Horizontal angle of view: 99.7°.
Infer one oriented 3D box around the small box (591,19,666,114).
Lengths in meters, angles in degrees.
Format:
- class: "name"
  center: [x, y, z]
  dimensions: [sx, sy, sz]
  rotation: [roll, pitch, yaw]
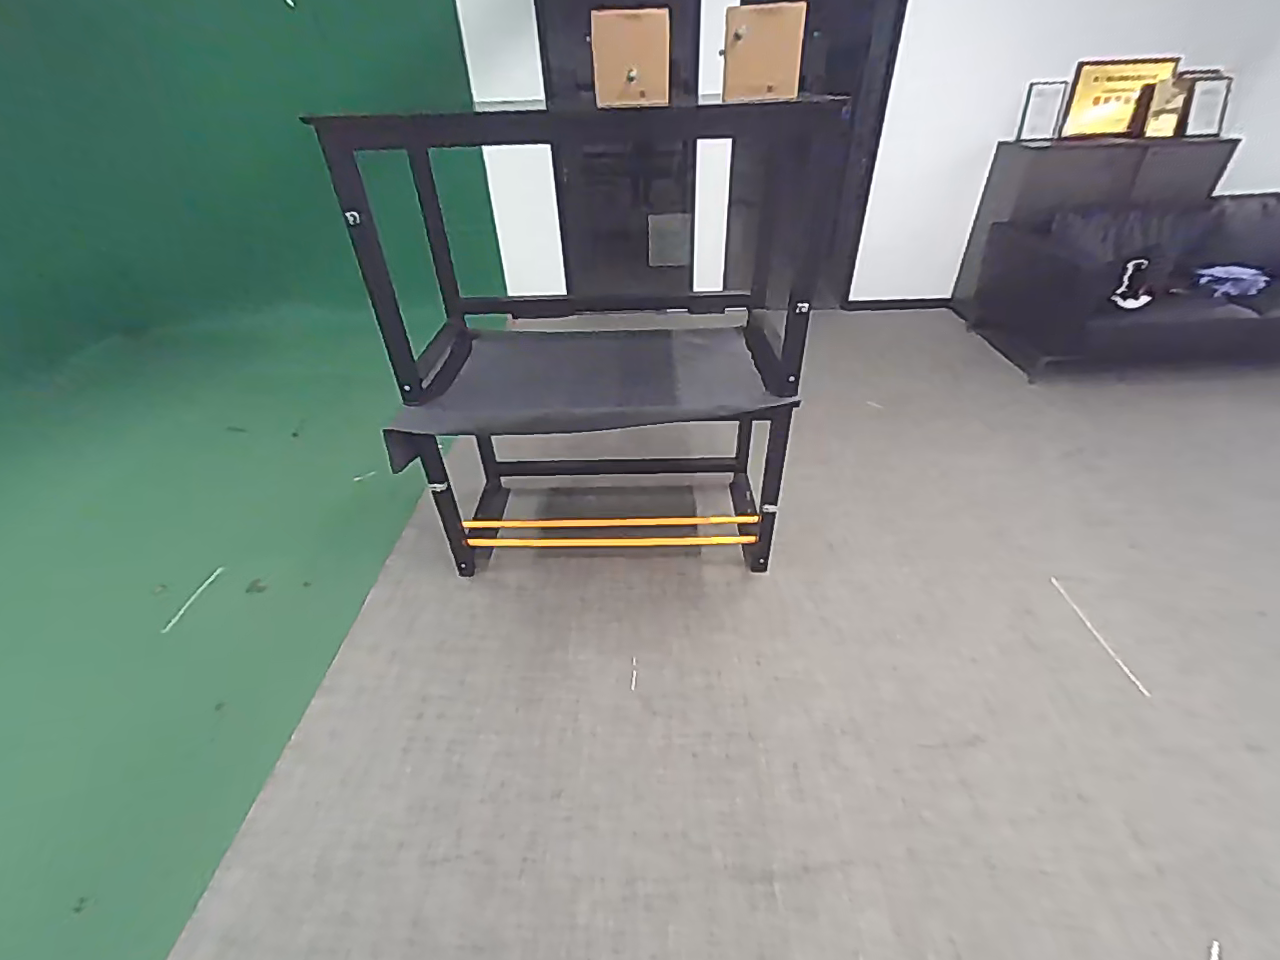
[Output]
- class: "small box"
  center: [-0.028, -0.973, 1.281]
  dimensions: [0.168, 0.176, 0.179]
  rotation: [-5, 36, -2]
